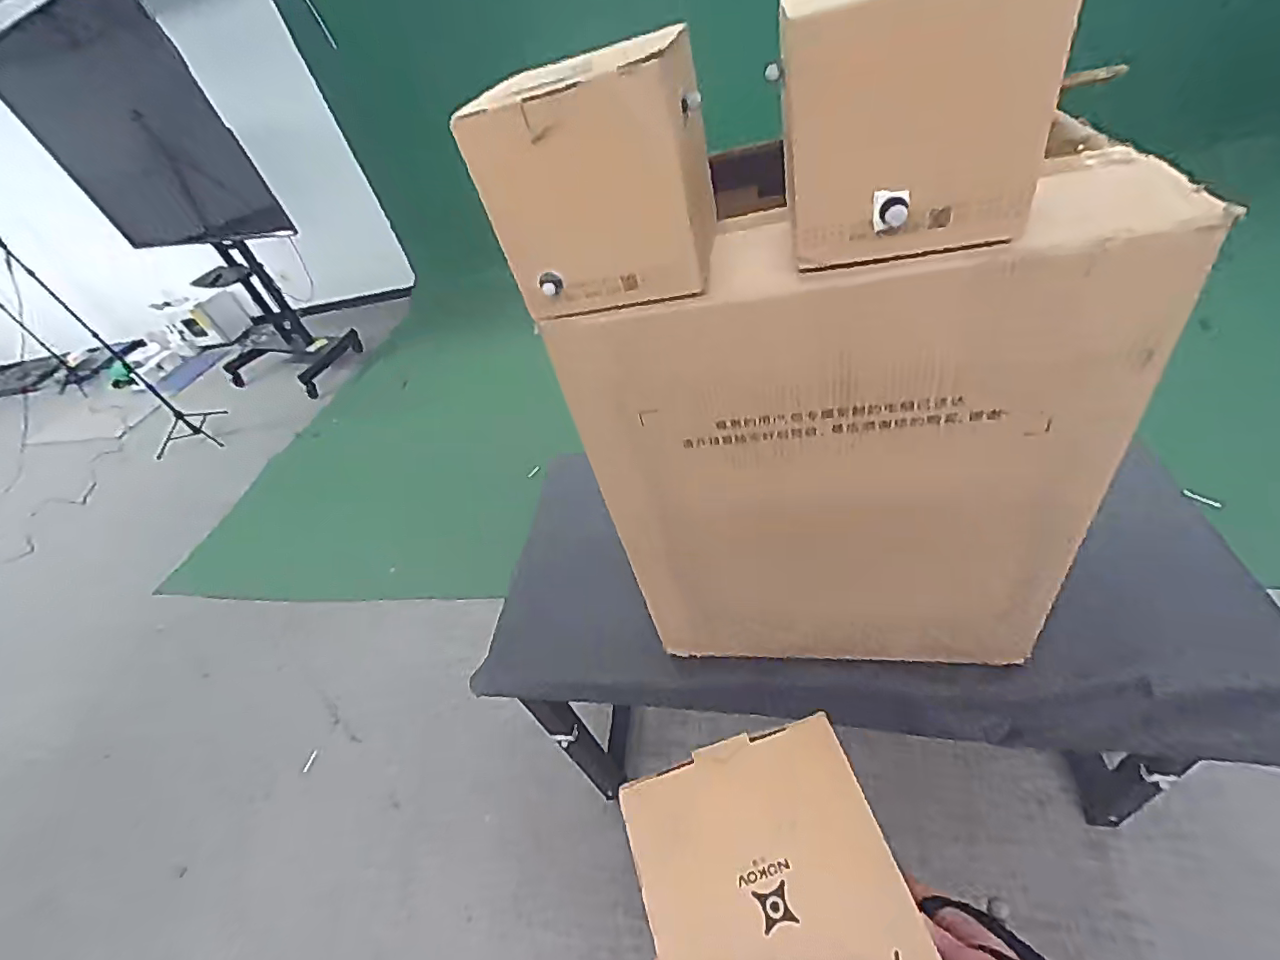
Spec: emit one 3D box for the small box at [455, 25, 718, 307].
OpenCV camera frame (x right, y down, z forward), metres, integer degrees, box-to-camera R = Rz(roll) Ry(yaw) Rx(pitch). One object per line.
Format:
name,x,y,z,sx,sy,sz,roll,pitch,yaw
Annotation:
small box,-0.027,-0.271,0.490,0.168,0.176,0.179,-3,44,18

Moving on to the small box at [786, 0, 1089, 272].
small box,0.203,-0.288,0.425,0.168,0.176,0.179,-4,45,16

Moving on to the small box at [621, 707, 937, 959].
small box,0.097,0.305,0.423,0.168,0.176,0.179,-20,56,0
